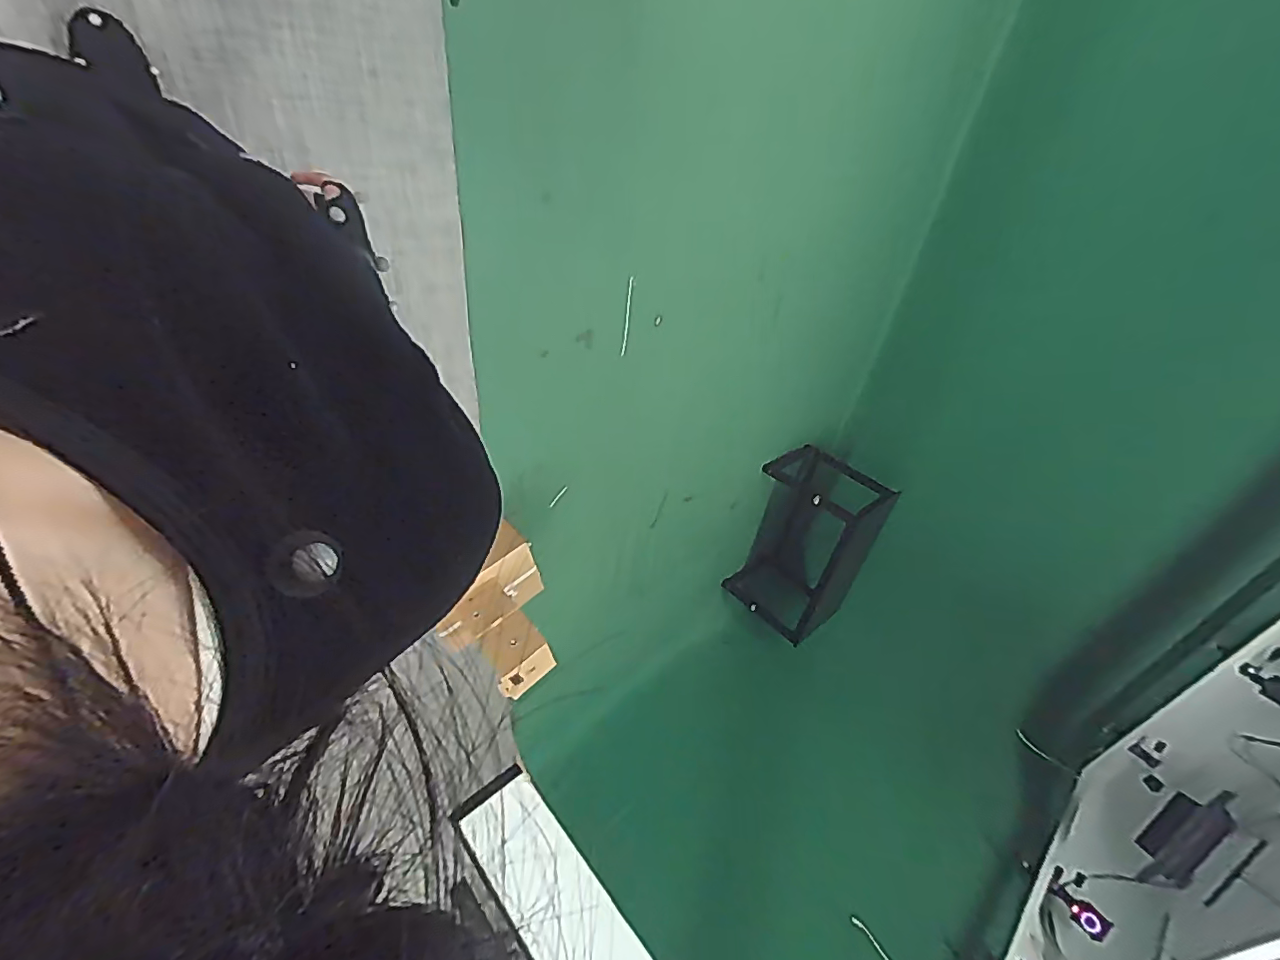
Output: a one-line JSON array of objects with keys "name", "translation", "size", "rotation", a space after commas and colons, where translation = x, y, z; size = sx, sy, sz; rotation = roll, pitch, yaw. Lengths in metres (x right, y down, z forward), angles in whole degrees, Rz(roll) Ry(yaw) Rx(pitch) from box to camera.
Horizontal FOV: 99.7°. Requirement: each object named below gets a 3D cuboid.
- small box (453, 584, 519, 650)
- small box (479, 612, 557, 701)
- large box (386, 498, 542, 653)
[{"name": "small box", "translation": [-0.509, 0.483, 1.845], "size": [0.168, 0.176, 0.179], "rotation": [-35, 142, -25]}, {"name": "small box", "translation": [-0.402, 0.569, 1.755], "size": [0.179, 0.176, 0.168], "rotation": [-36, 143, -24]}, {"name": "large box", "translation": [-0.641, 0.346, 2.006], "size": [0.408, 0.320, 0.320], "rotation": [-36, 145, -26]}]
